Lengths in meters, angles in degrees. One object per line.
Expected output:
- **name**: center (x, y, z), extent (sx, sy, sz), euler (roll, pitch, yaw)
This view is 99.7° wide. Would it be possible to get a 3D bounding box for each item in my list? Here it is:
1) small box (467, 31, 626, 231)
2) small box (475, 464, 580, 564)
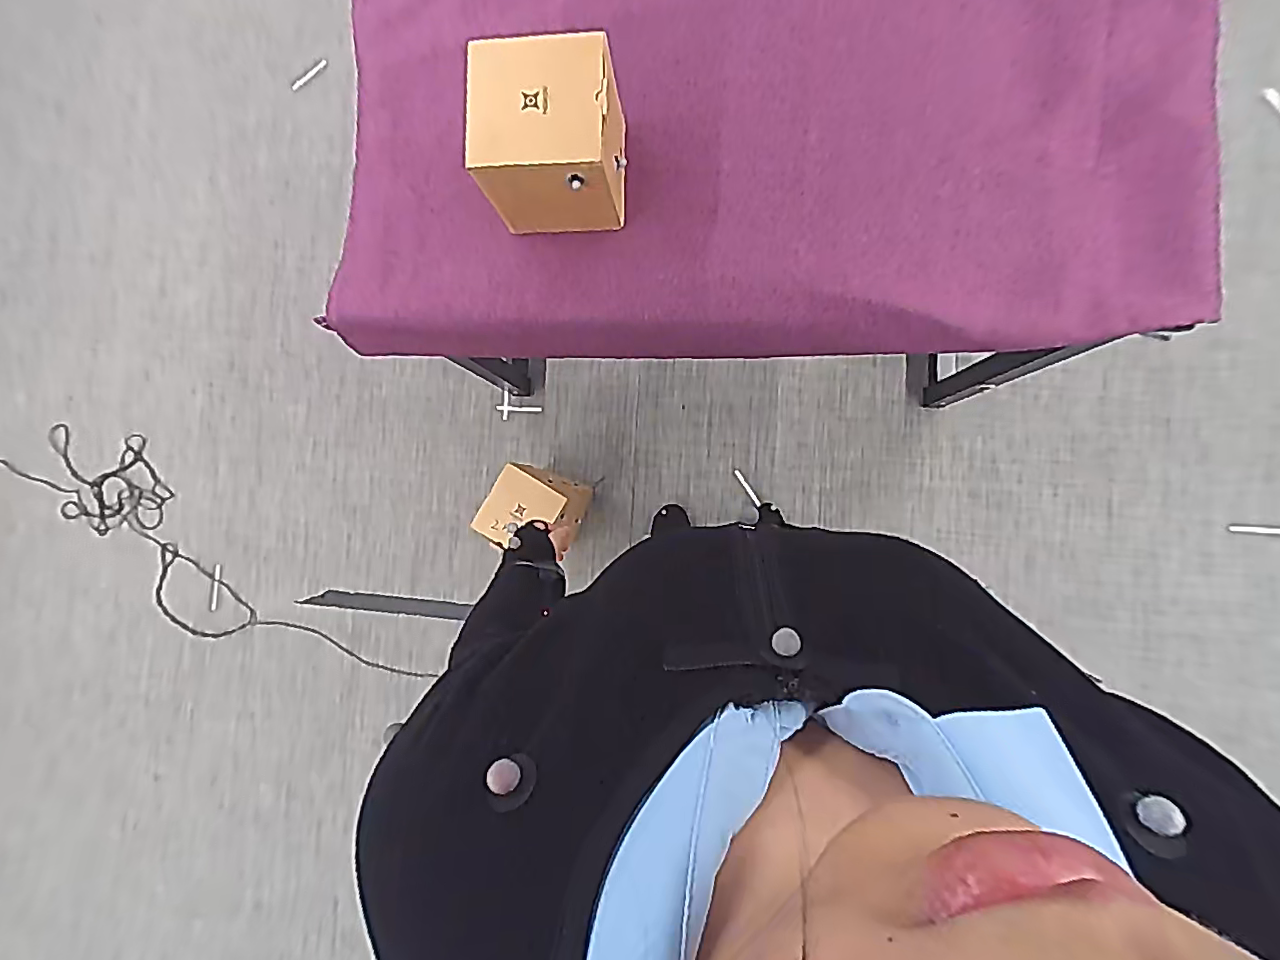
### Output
- **small box**: center (-0.118, -0.461, 0.741), extent (0.179, 0.176, 0.168), euler (0, 87, 5)
- **small box**: center (-0.260, 0.077, 1.303), extent (0.168, 0.176, 0.179), euler (31, 92, 6)
